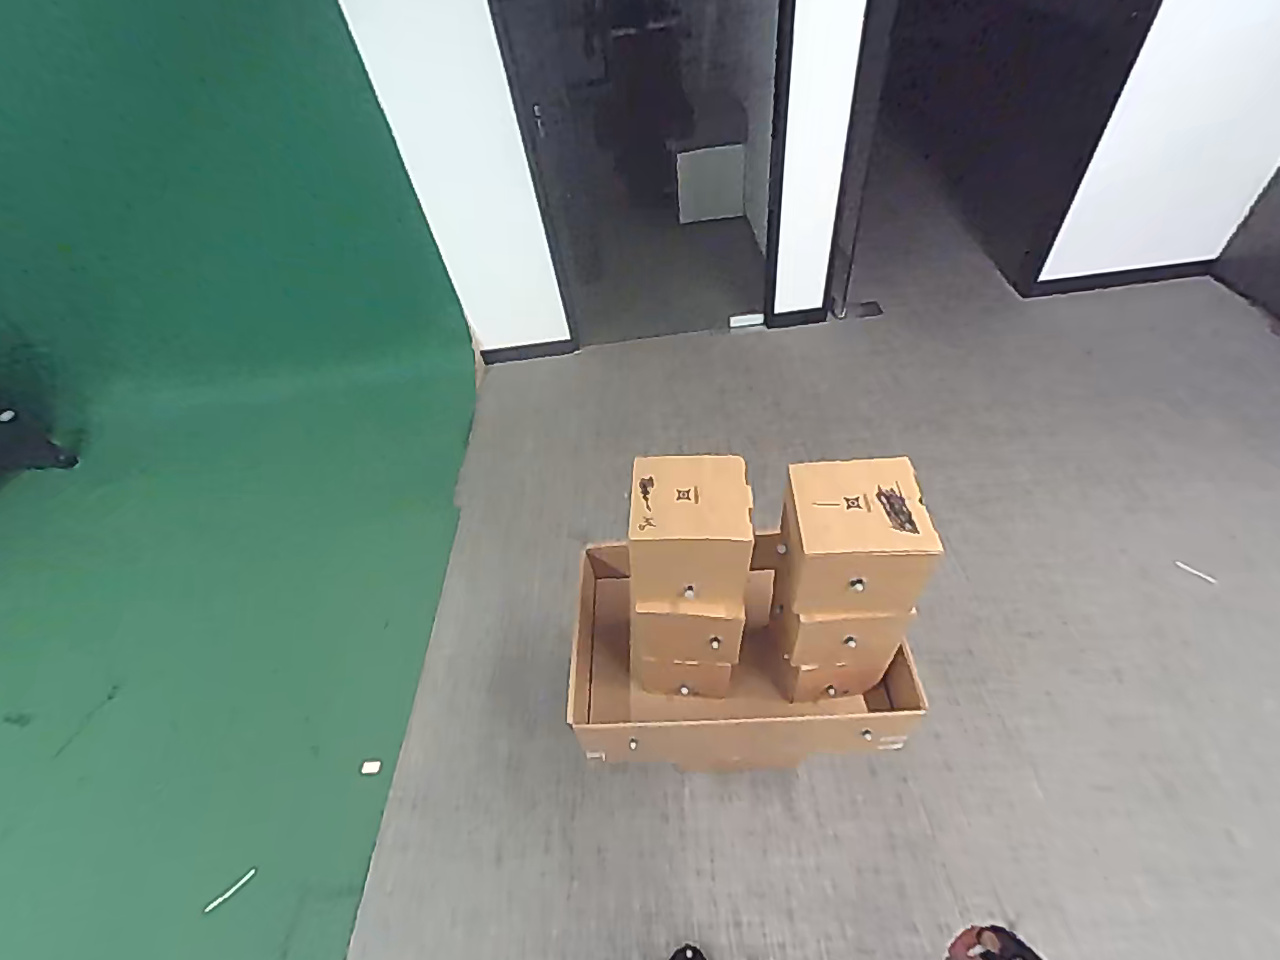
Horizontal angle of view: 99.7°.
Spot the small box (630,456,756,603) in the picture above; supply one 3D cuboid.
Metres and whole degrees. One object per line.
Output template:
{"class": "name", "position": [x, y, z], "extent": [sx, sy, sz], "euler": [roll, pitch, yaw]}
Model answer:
{"class": "small box", "position": [0.078, 0.081, 0.853], "extent": [0.179, 0.176, 0.168], "euler": [1, 46, 4]}

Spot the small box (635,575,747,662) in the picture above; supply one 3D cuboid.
{"class": "small box", "position": [0.092, 0.208, 0.956], "extent": [0.179, 0.176, 0.168], "euler": [2, 47, 7]}

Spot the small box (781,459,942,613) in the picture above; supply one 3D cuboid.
{"class": "small box", "position": [0.313, 0.087, 0.805], "extent": [0.179, 0.176, 0.168], "euler": [-3, 48, 8]}
